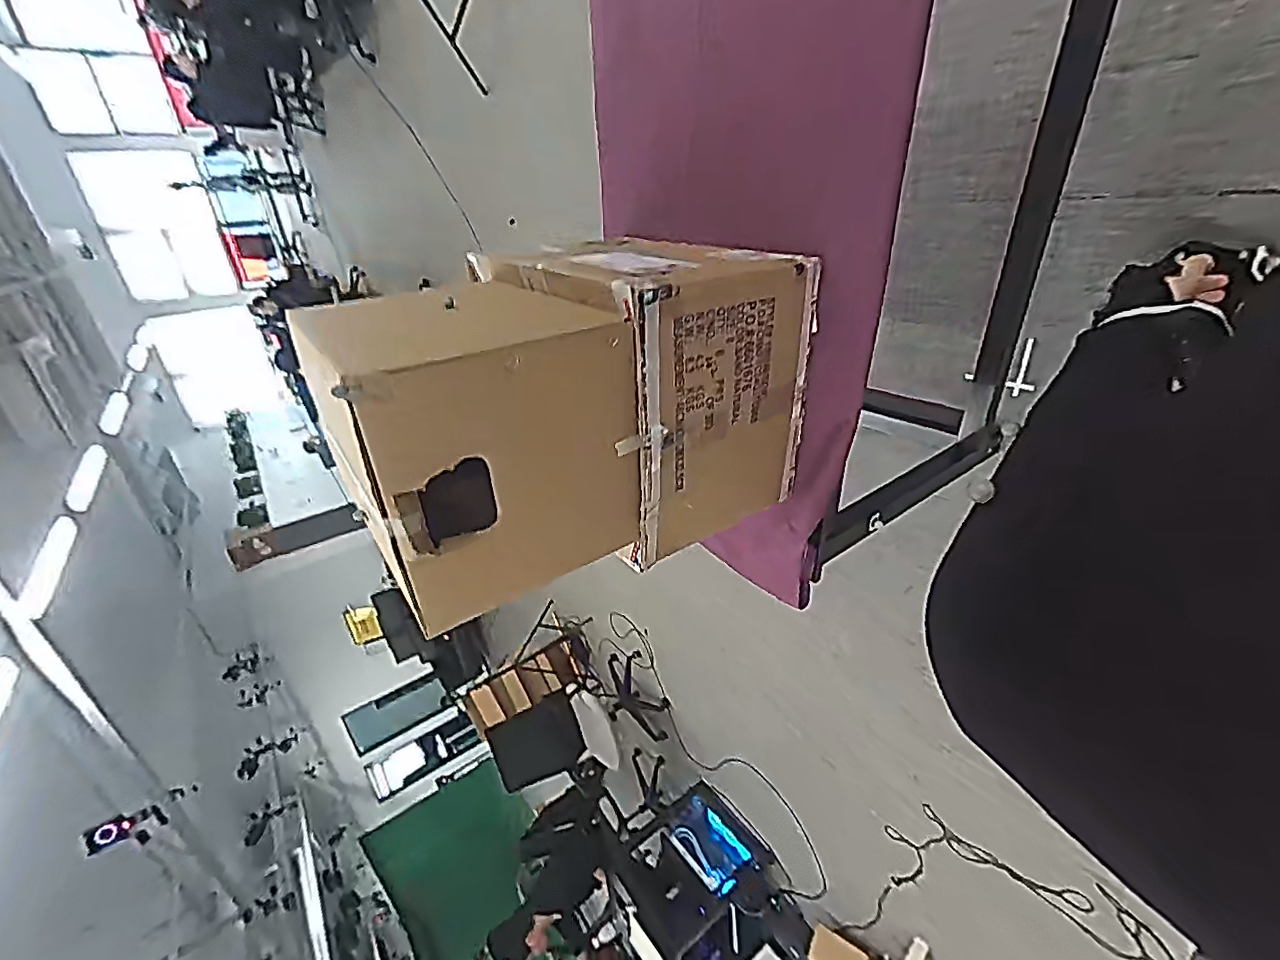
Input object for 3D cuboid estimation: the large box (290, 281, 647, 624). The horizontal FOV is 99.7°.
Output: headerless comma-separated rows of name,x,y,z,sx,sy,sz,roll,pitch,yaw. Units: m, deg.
large box,-0.236,-0.086,0.747,0.408,0.320,0.320,30,134,46
